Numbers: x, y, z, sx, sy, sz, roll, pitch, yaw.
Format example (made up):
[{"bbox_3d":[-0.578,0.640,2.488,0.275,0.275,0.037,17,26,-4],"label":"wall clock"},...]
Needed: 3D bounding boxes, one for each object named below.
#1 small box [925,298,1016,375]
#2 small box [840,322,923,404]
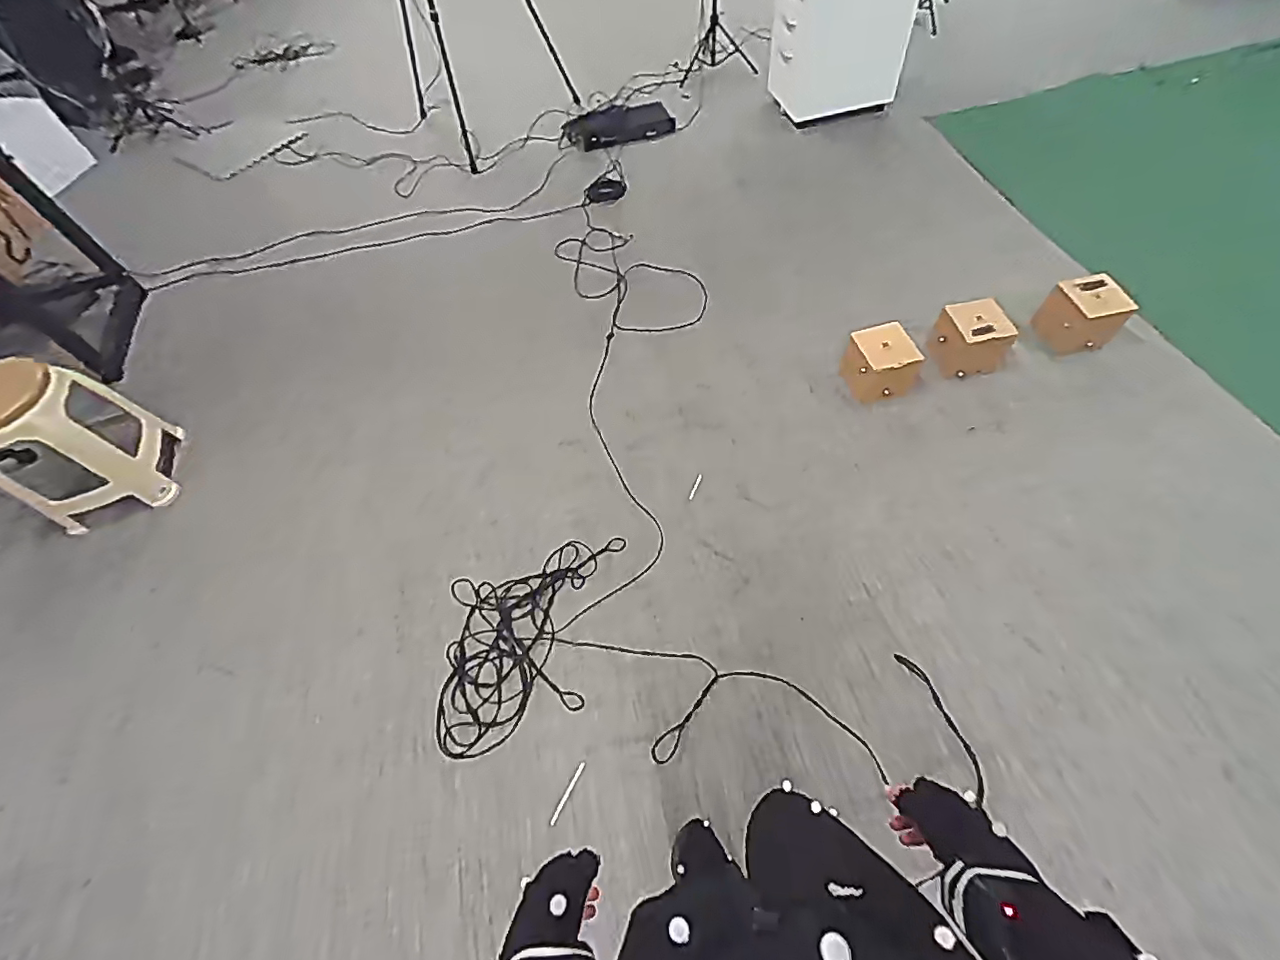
[{"bbox_3d":[1.073,-0.461,1.771,0.168,0.176,0.179,-9,57,0],"label":"small box"},{"bbox_3d":[0.771,-0.376,1.752,0.168,0.176,0.179,-15,58,-3],"label":"small box"}]
